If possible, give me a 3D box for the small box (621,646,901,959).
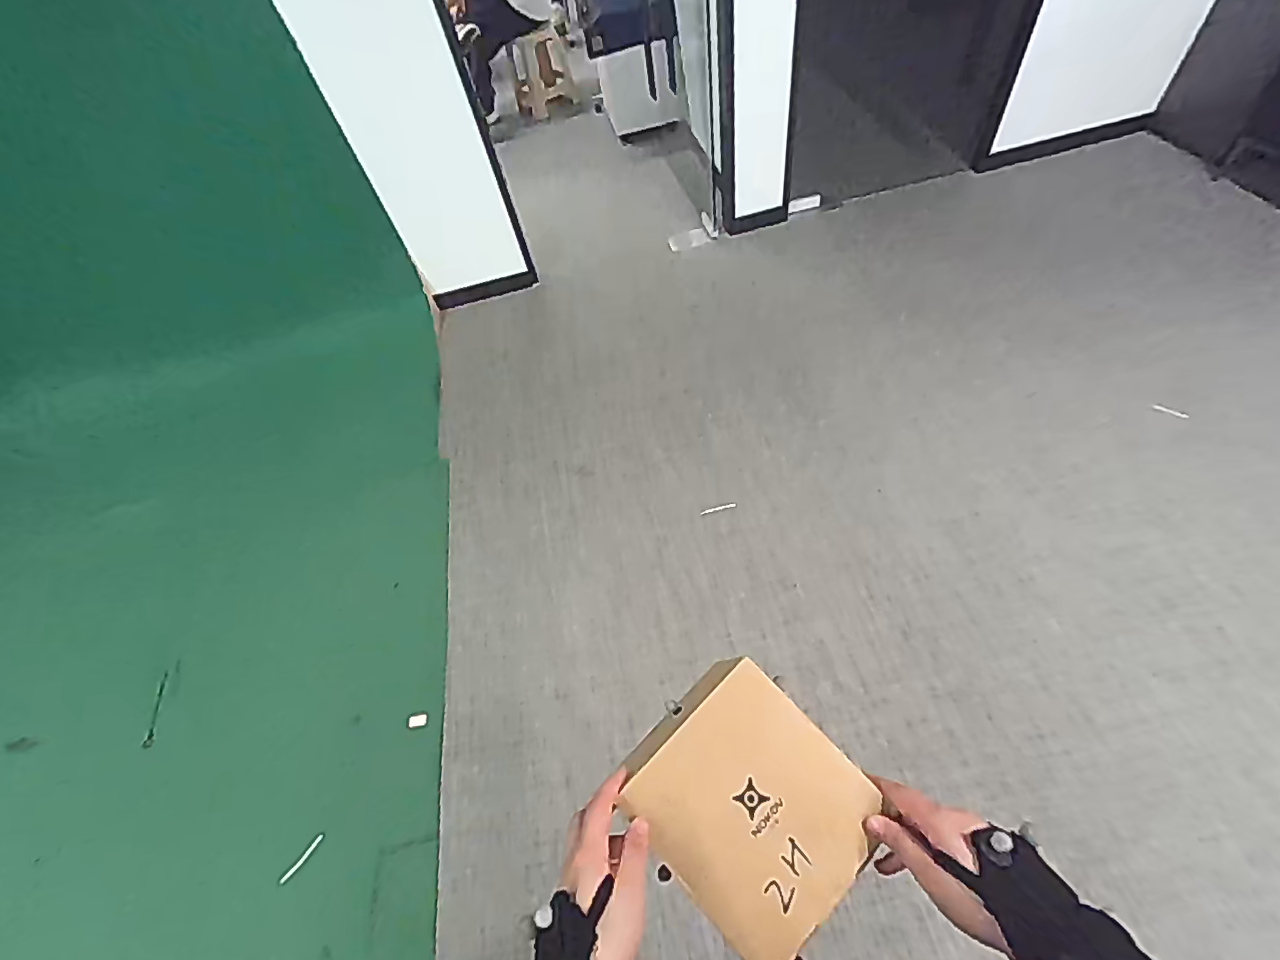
[{"bbox_3d":[0.097,0.287,0.519,0.168,0.176,0.179,-41,76,-14],"label":"small box"}]
